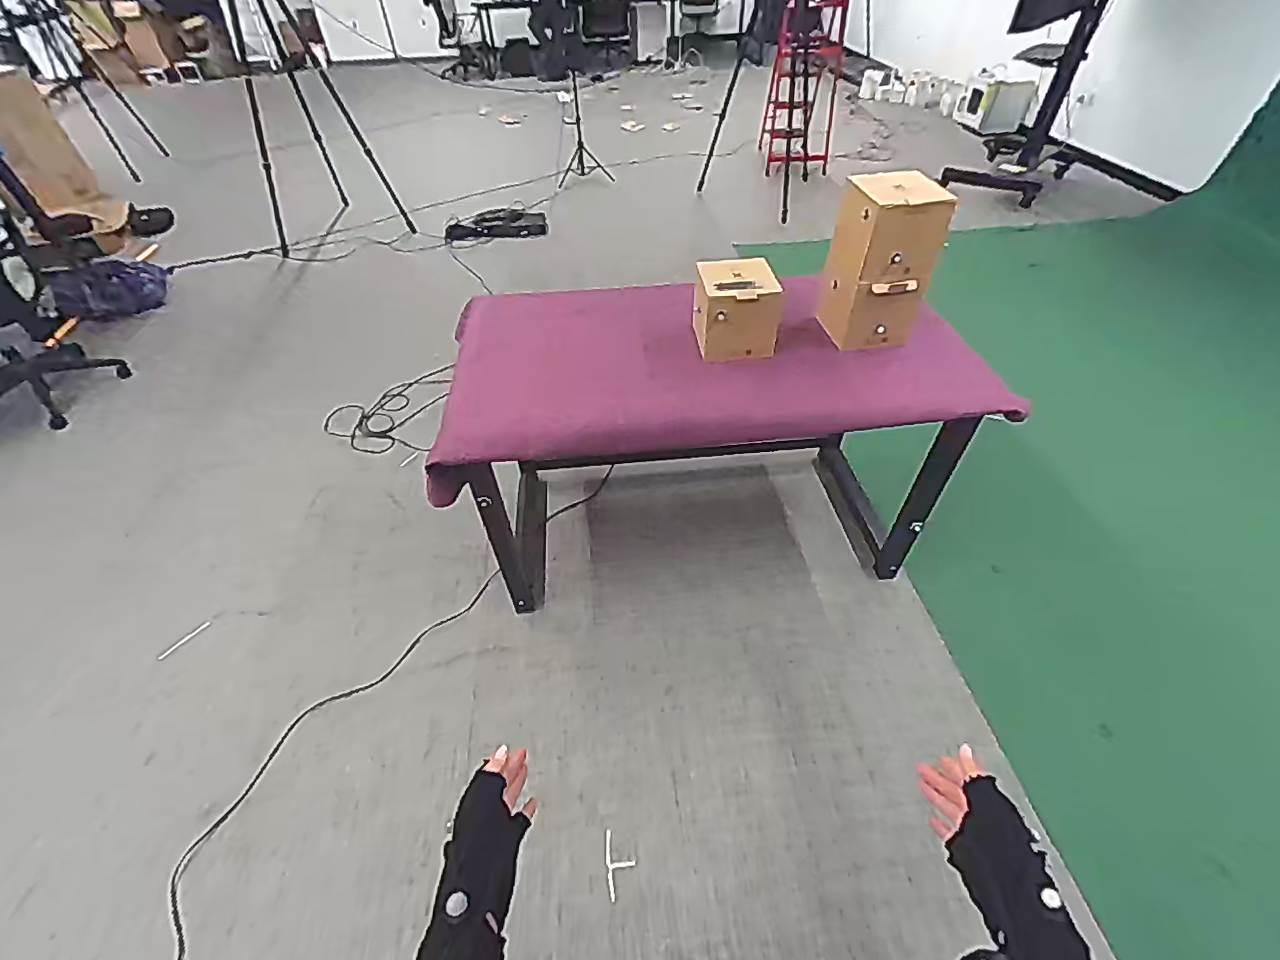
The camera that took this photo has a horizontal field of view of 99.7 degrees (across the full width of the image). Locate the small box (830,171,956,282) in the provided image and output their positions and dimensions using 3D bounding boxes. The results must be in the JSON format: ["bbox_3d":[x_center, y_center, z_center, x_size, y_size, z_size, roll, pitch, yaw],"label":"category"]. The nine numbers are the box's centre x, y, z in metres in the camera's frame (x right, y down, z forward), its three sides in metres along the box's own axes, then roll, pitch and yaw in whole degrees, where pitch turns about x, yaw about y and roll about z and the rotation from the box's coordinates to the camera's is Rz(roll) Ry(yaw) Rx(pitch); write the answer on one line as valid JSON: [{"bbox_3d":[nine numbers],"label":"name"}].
[{"bbox_3d":[0.537,-0.552,1.179,0.168,0.176,0.179,-7,48,-5],"label":"small box"}]

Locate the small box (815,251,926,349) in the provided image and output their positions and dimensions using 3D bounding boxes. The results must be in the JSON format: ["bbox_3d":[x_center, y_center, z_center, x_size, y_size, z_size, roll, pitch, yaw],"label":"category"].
[{"bbox_3d":[0.538,-0.437,1.295,0.168,0.176,0.179,-8,47,-4],"label":"small box"}]
